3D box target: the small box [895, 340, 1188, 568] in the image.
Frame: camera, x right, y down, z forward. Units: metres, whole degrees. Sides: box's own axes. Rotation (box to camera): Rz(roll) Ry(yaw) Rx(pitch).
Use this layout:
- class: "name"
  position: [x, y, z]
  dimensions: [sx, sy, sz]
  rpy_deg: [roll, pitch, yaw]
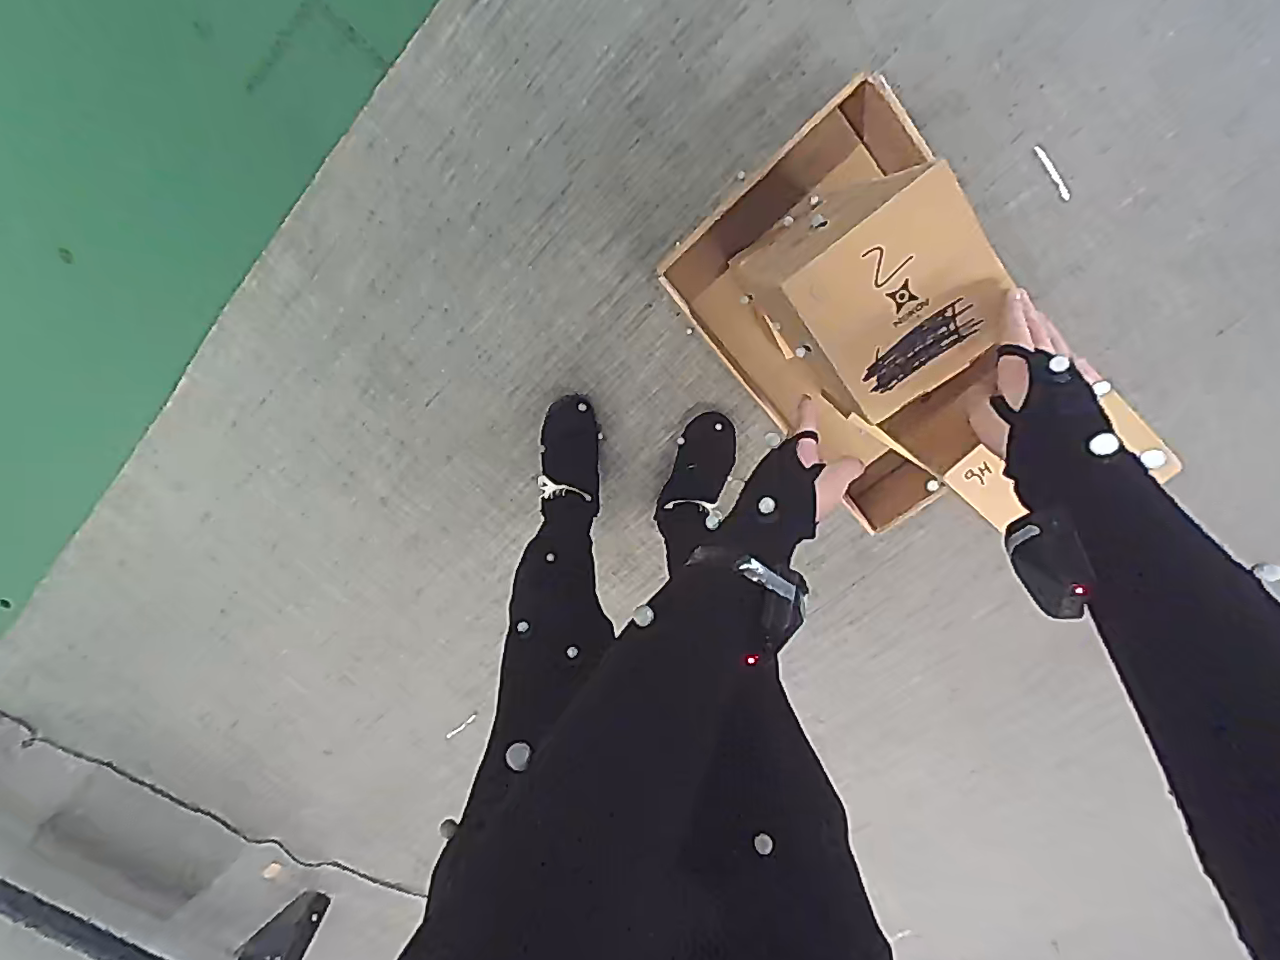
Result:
- class: "small box"
  position: [0.438, -0.040, 0.623]
  dimensions: [0.179, 0.176, 0.168]
  rpy_deg: [38, 110, -12]

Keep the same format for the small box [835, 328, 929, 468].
- class: "small box"
  position: [0.459, -0.155, 0.927]
  dimensions: [0.168, 0.176, 0.179]
  rpy_deg: [30, 111, -8]

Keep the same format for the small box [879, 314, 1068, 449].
- class: "small box"
  position: [0.467, -0.118, 0.765]
  dimensions: [0.168, 0.176, 0.179]
  rpy_deg: [20, 112, -5]

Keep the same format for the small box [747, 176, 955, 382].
- class: "small box"
  position: [0.263, -0.259, 0.717]
  dimensions: [0.168, 0.176, 0.179]
  rpy_deg: [-37, 107, 15]
